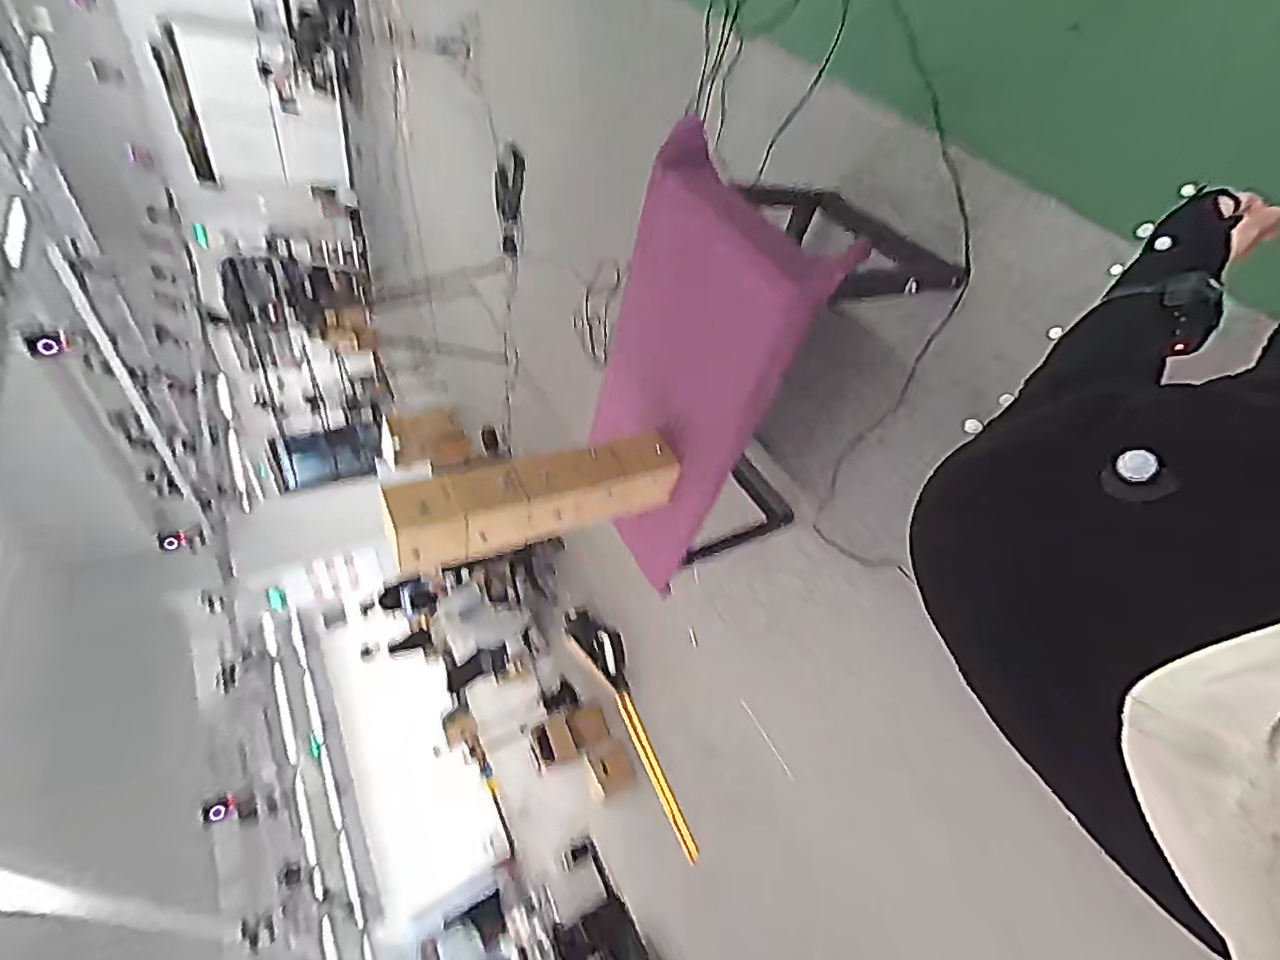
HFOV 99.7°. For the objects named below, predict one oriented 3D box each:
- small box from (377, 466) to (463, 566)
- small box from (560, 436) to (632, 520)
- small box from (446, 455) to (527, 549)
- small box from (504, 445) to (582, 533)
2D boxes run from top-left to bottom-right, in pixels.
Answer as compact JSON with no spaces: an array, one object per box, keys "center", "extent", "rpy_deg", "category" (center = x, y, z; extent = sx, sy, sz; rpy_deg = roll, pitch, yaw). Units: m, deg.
[{"center":[-0.553,0.086,1.375],"extent":[0.168,0.176,0.179],"rpy_deg":[55,144,31],"category":"small box"},{"center":[-0.142,-0.012,1.623],"extent":[0.168,0.176,0.179],"rpy_deg":[56,145,30],"category":"small box"},{"center":[-0.417,0.057,1.458],"extent":[0.168,0.176,0.179],"rpy_deg":[55,143,31],"category":"small box"},{"center":[-0.282,0.019,1.544],"extent":[0.179,0.176,0.168],"rpy_deg":[55,143,31],"category":"small box"}]
